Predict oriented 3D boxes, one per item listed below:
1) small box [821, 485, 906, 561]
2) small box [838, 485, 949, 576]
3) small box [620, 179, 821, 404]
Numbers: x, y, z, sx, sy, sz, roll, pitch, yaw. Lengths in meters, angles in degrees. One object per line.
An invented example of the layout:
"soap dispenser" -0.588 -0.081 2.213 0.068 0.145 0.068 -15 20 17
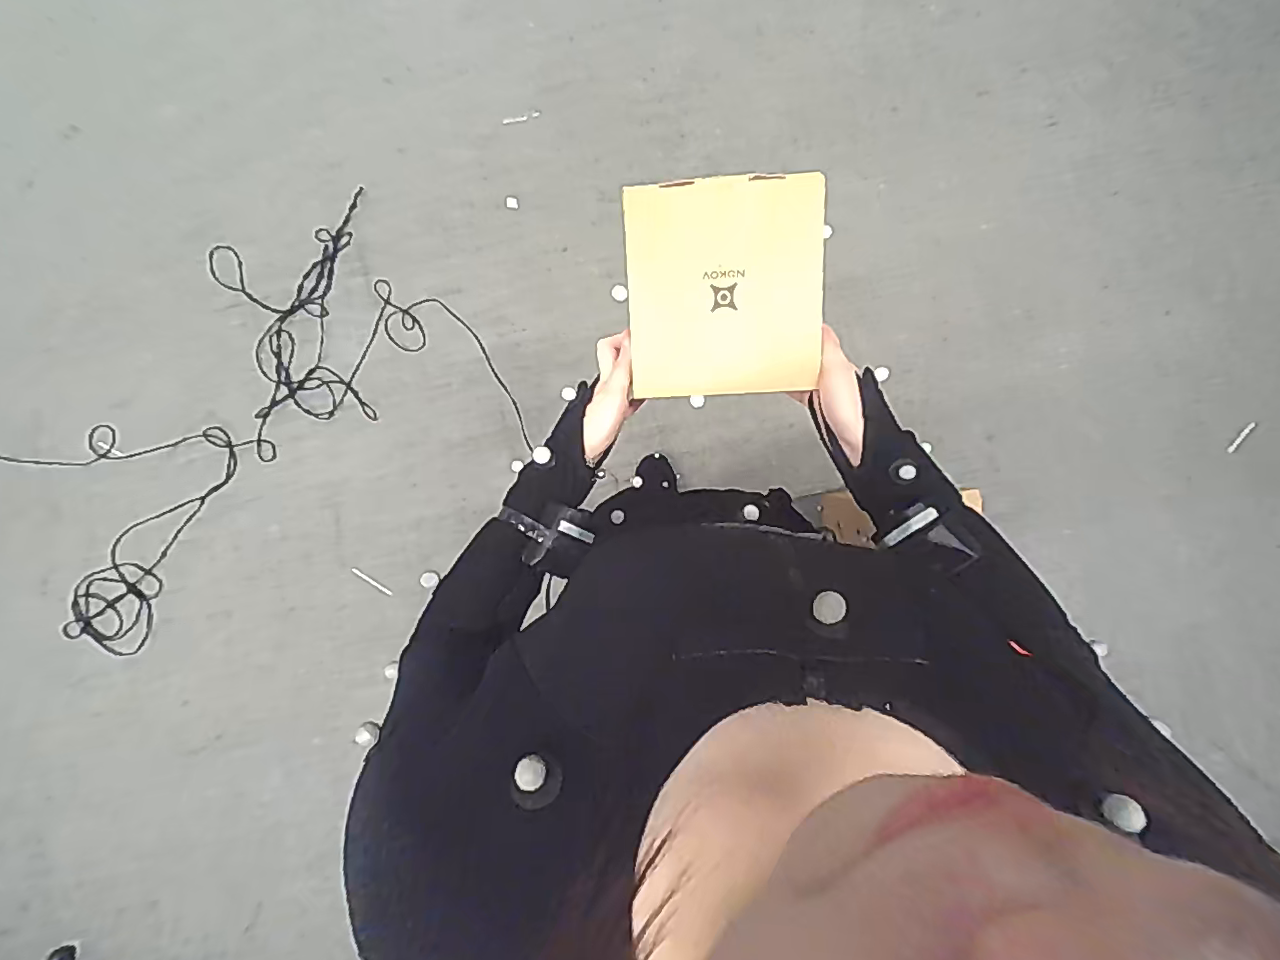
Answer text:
"small box" 0.583 0.108 1.404 0.179 0.176 0.168 -11 90 2
"small box" 0.570 0.111 1.240 0.168 0.176 0.179 -10 90 3
"small box" 0.073 -0.173 0.535 0.168 0.176 0.179 -2 101 4
